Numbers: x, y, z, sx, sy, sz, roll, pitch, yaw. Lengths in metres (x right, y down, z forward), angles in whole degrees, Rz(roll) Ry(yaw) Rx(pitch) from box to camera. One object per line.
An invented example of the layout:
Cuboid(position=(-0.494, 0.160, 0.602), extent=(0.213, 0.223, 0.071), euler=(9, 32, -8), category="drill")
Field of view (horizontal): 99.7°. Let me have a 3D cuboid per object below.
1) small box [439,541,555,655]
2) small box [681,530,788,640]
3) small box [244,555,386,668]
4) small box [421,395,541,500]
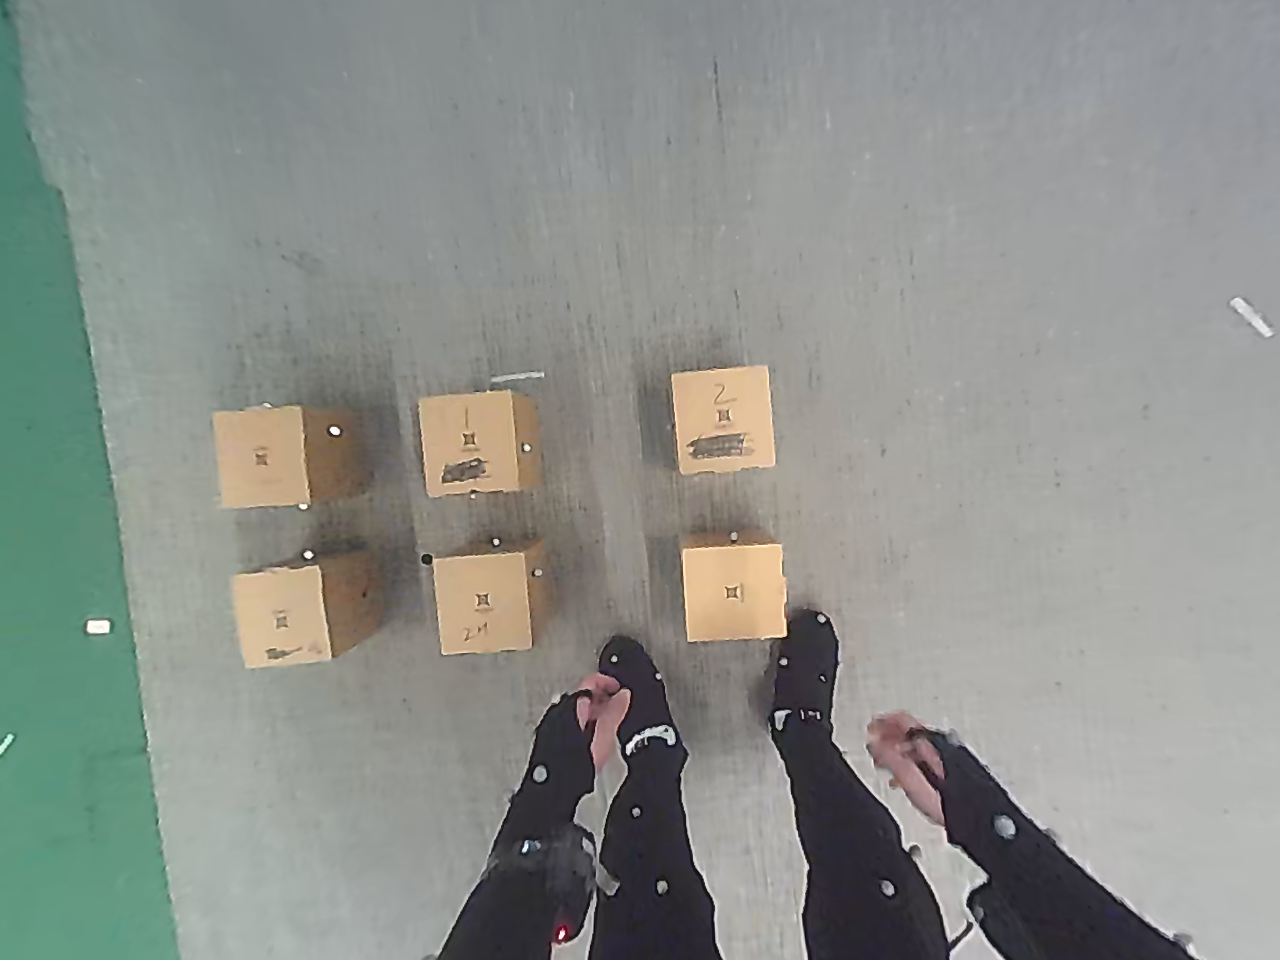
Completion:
Cuboid(position=(-0.266, 0.215, 1.034), extent=(0.168, 0.176, 0.179), euler=(-5, 93, 4), category="small box")
Cuboid(position=(0.167, 0.189, 1.011), extent=(0.179, 0.176, 0.168), euler=(-4, 93, 2), category="small box")
Cuboid(position=(-0.622, 0.247, 1.053), extent=(0.168, 0.176, 0.179), euler=(-6, 92, 4), category="small box")
Cuboid(position=(-0.289, -0.061, 1.020), extent=(0.168, 0.176, 0.179), euler=(-4, 92, 3), category="small box")
